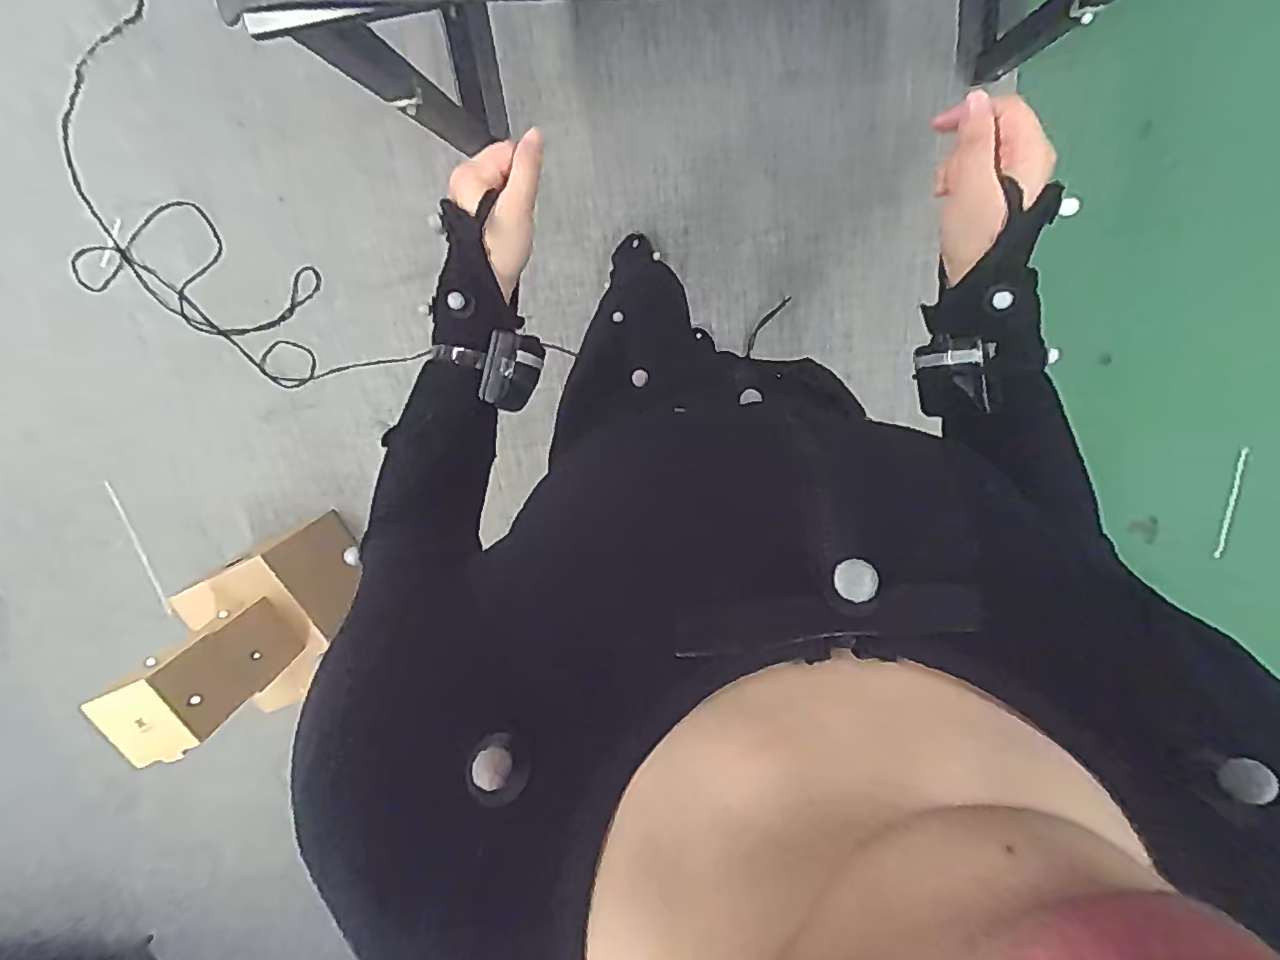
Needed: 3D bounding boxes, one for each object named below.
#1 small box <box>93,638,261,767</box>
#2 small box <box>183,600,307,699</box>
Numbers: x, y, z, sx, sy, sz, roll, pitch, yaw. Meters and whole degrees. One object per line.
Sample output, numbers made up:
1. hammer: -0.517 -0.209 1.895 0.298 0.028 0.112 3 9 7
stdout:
1. small box: -0.977 0.464 1.159 0.168 0.176 0.179 -23 106 9
2. small box: -0.964 0.425 1.317 0.168 0.176 0.179 -23 105 10
